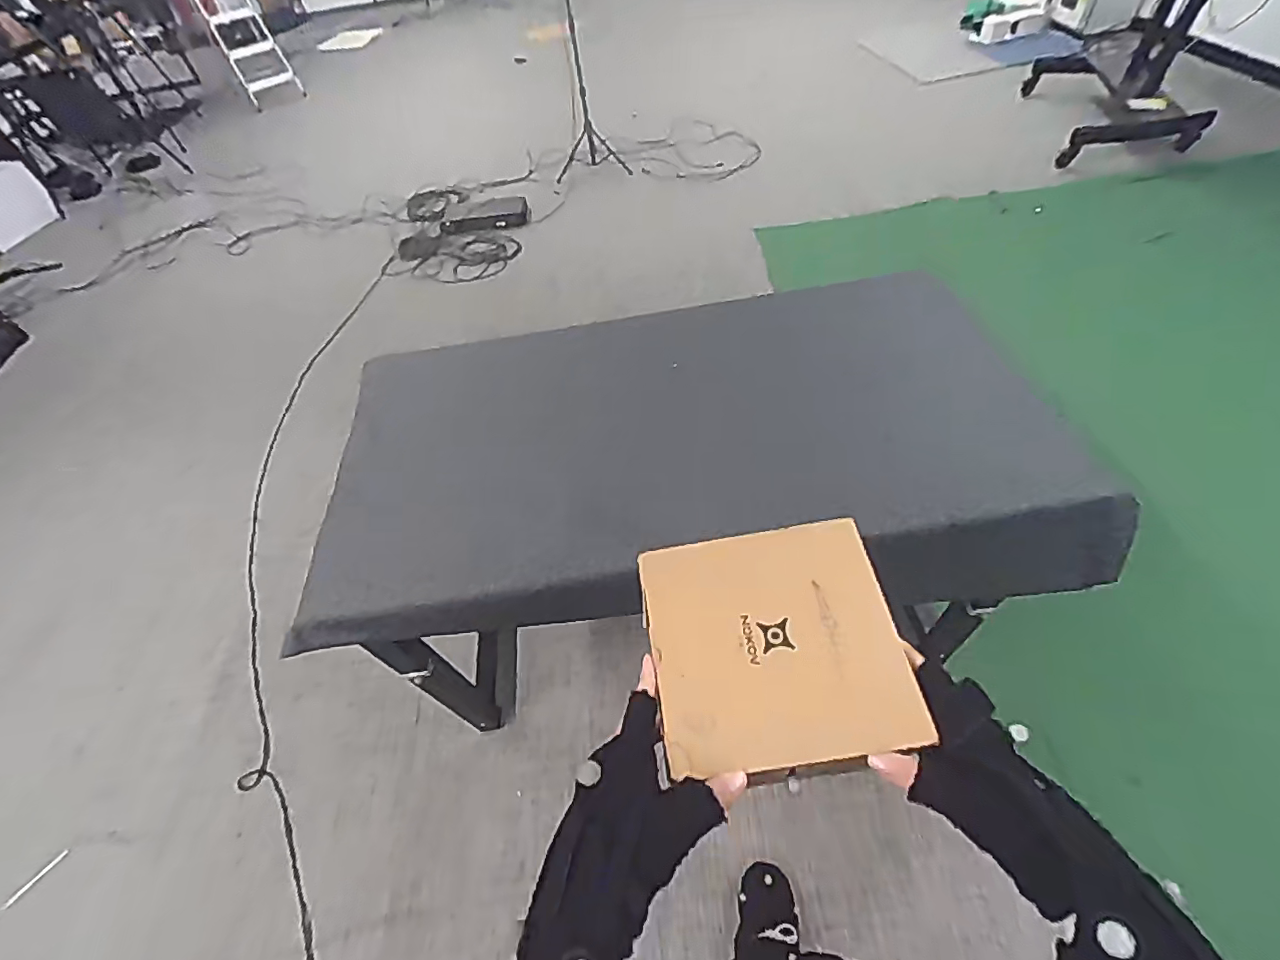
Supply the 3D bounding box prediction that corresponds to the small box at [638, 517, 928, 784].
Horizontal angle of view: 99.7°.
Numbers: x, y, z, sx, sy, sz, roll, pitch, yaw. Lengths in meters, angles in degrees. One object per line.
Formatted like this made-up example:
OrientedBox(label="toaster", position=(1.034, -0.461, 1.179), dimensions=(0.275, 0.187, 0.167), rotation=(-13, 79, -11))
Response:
OrientedBox(label="small box", position=(0.102, 0.153, 0.463), dimensions=(0.179, 0.176, 0.168), rotation=(-10, 58, 0))
